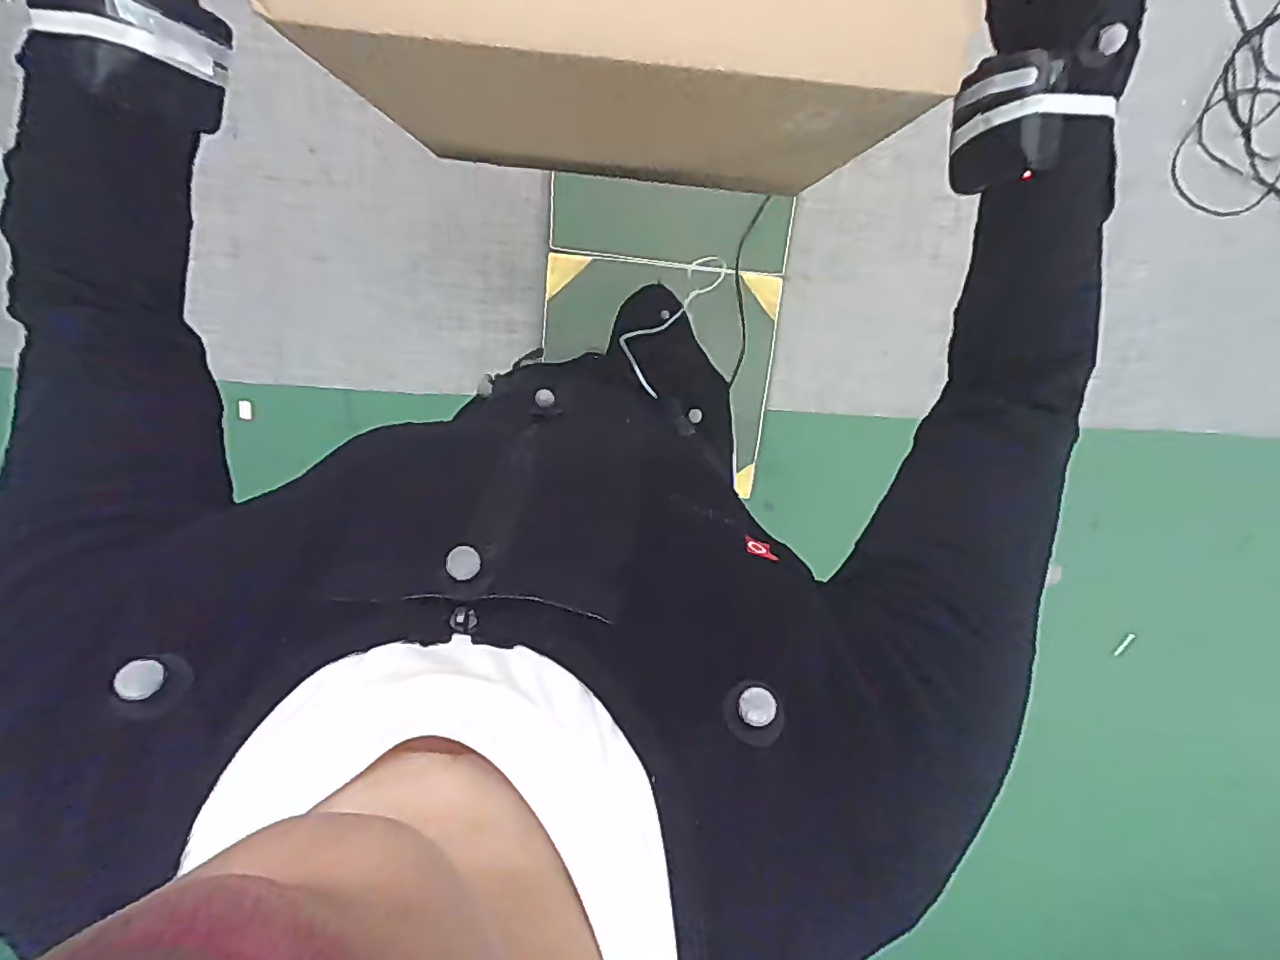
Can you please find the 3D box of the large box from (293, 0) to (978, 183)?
[{"bbox_3d":[0.000,-0.444,0.412,0.408,0.320,0.320,4,108,-4],"label":"large box"}]
